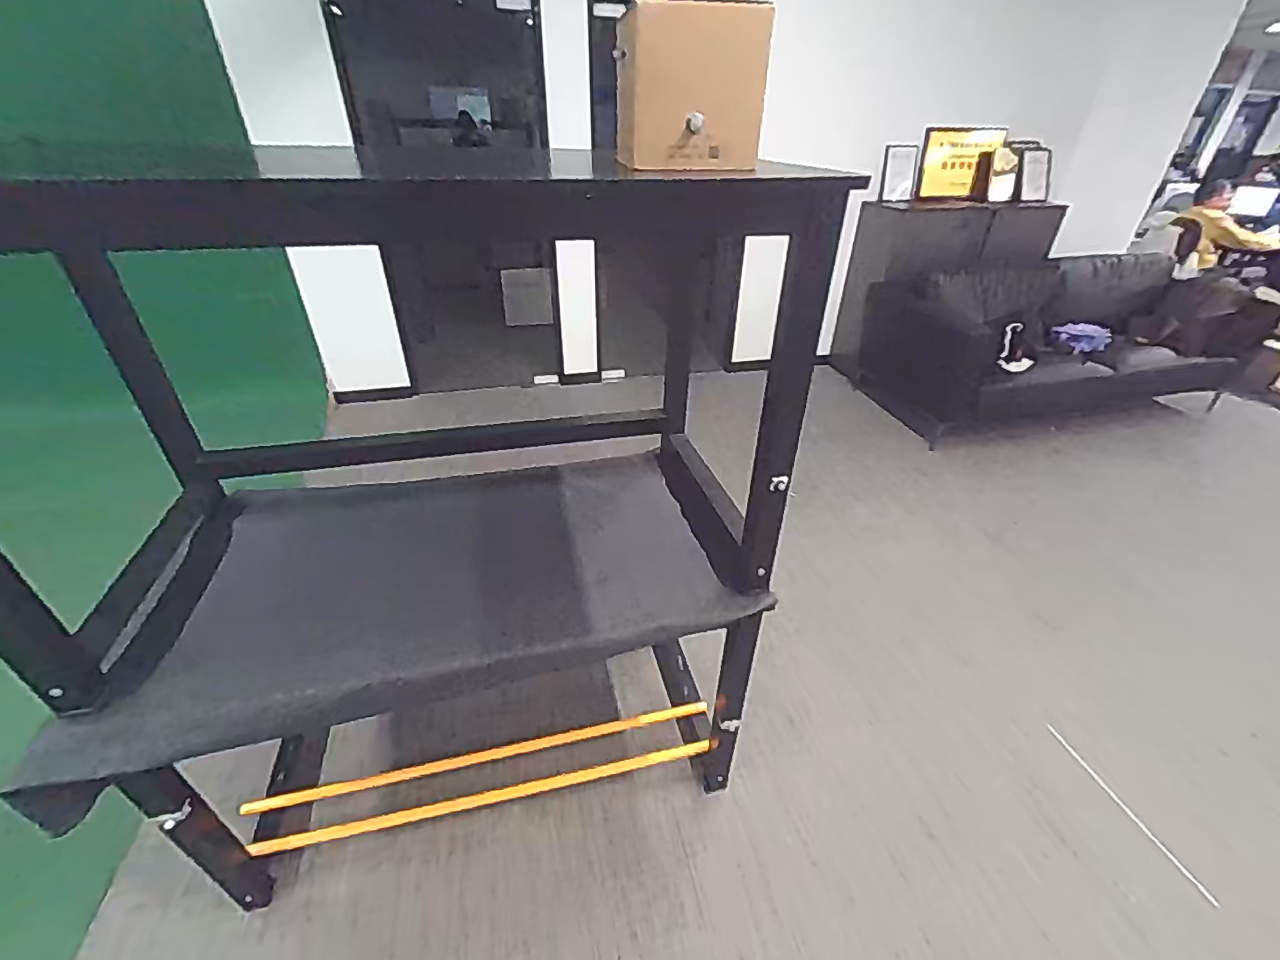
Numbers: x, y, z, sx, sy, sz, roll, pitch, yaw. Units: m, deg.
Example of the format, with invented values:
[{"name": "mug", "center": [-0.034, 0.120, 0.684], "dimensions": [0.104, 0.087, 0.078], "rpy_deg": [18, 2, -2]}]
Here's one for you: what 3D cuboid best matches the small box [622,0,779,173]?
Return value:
[{"name": "small box", "center": [0.065, -0.515, 0.721], "dimensions": [0.168, 0.176, 0.179], "rpy_deg": [-4, 35, -7]}]
